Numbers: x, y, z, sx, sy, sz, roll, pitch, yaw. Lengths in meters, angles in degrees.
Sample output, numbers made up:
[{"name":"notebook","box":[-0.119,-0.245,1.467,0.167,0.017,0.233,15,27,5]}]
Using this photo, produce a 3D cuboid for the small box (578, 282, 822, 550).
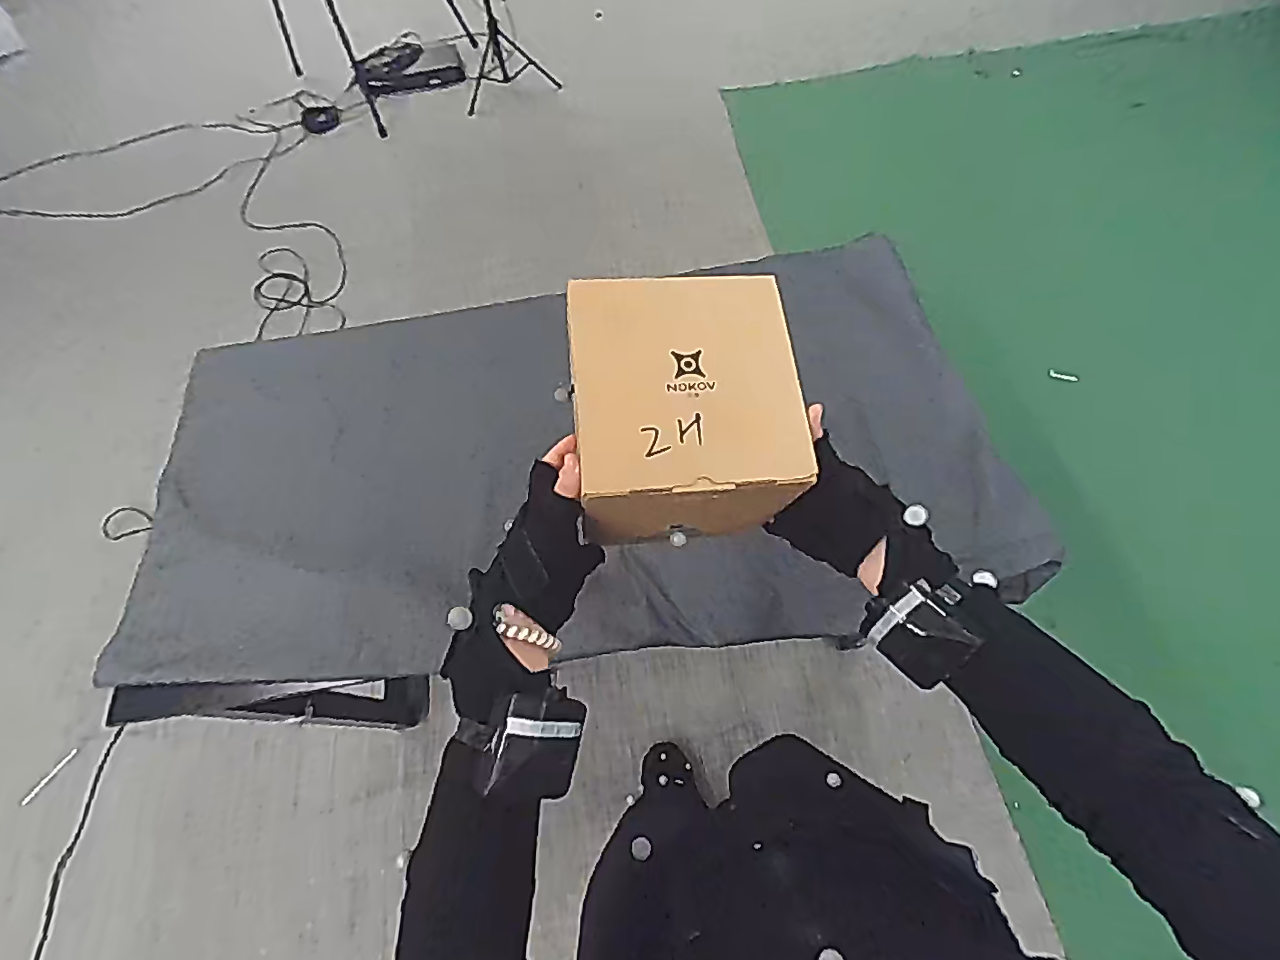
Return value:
[{"name":"small box","box":[0.032,-0.046,0.471,0.168,0.176,0.179,-3,71,-8]}]
